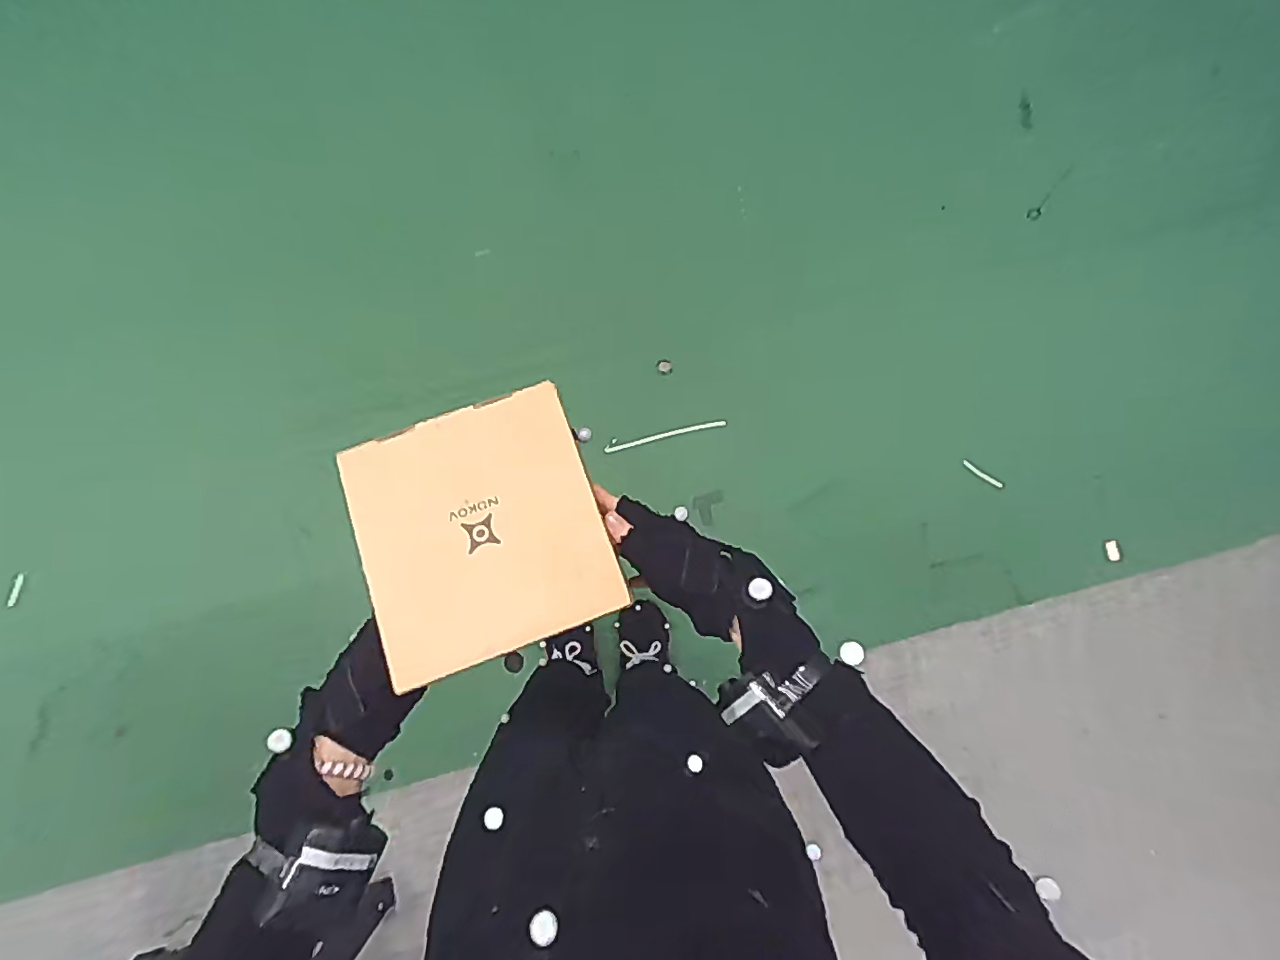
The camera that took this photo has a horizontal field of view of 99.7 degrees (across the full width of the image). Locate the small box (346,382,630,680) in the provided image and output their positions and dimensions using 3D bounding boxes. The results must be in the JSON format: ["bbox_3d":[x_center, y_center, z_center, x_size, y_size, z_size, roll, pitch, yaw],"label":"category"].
[{"bbox_3d":[-0.111,0.049,0.463,0.168,0.176,0.179,-20,76,-5],"label":"small box"}]
